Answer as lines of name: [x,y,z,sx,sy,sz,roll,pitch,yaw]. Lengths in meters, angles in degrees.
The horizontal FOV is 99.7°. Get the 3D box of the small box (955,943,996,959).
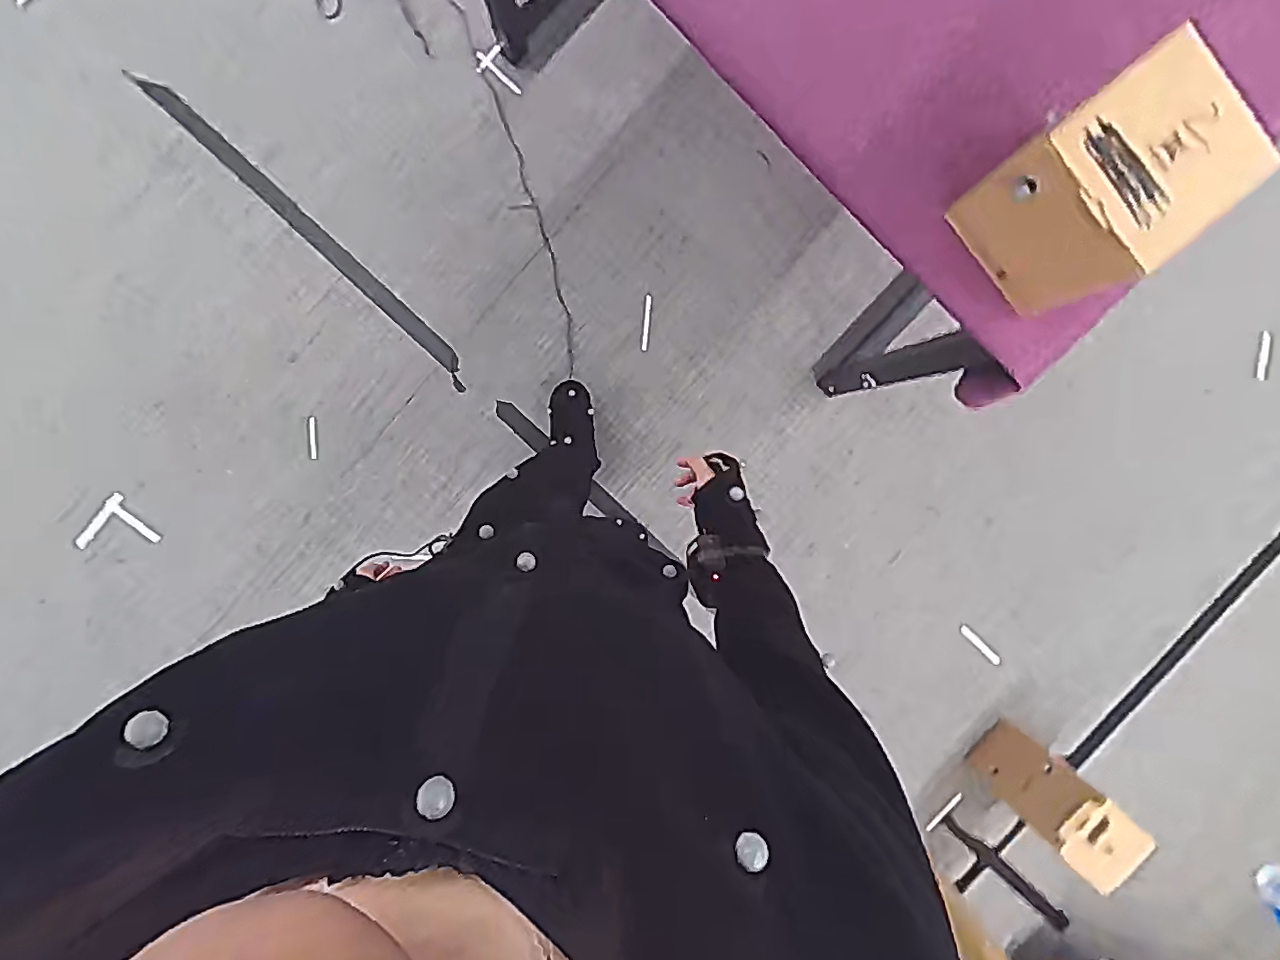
small box: [0.753,1.163,1.151,0.168,0.176,0.179,45,94,-4]

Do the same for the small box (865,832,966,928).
small box: [0.746,1.122,1.474,0.179,0.176,0.168,-43,96,2]

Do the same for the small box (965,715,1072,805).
small box: [1.020,0.781,1.456,0.168,0.176,0.179,40,91,-6]

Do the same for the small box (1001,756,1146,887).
small box: [1.023,0.800,1.292,0.179,0.176,0.168,43,92,-7]

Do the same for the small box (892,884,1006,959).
small box: [0.762,1.146,1.314,0.179,0.176,0.168,42,93,-5]
